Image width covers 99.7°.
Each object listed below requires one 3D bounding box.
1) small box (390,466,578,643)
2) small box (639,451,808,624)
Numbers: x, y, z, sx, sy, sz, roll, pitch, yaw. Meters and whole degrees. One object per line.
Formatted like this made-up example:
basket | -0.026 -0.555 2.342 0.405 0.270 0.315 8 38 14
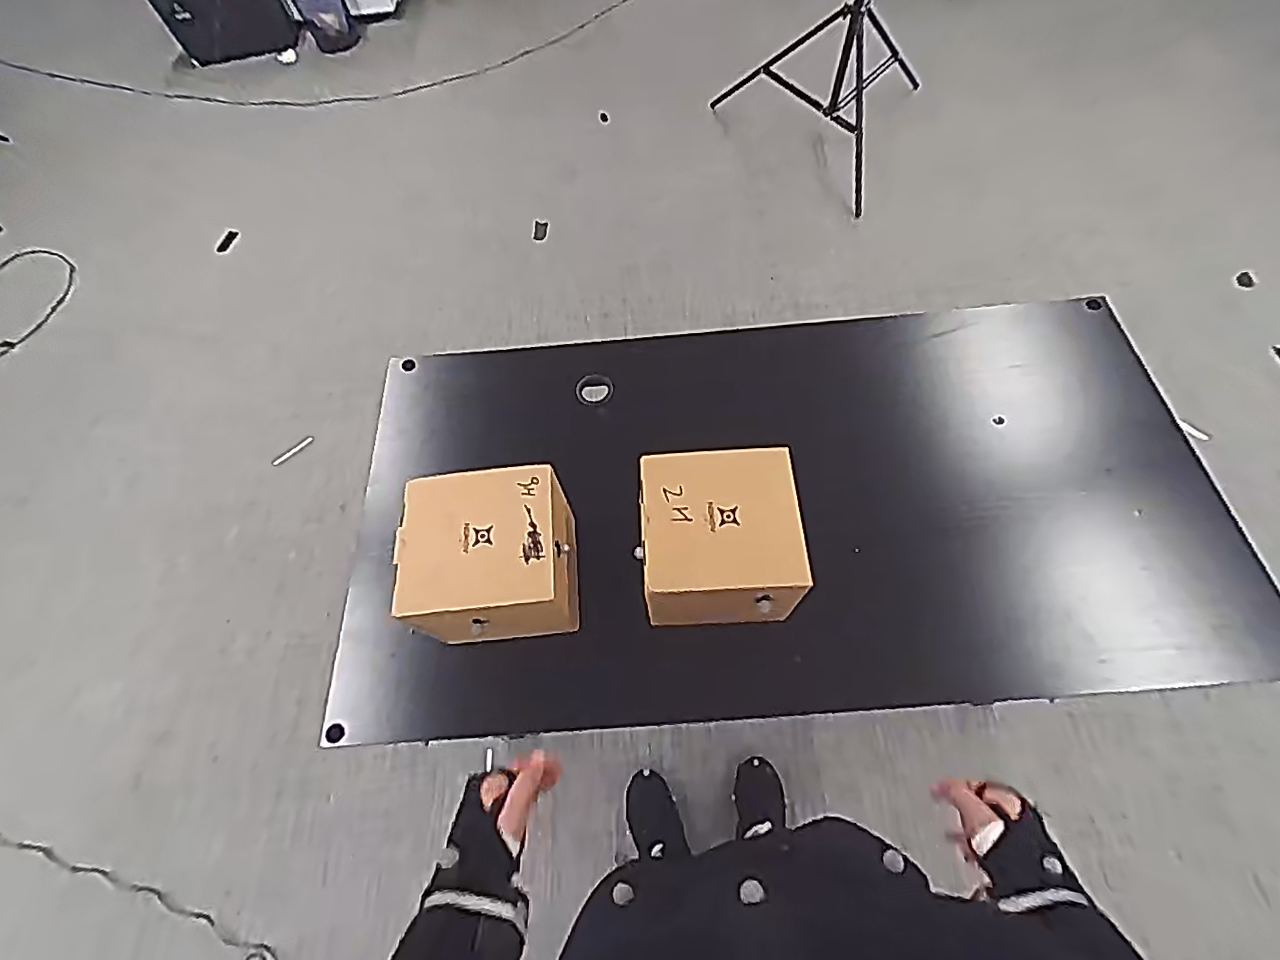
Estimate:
small box | -0.181 0.101 0.677 0.179 0.176 0.168 -7 64 1
small box | 0.091 0.078 0.669 0.179 0.176 0.168 -3 63 3
